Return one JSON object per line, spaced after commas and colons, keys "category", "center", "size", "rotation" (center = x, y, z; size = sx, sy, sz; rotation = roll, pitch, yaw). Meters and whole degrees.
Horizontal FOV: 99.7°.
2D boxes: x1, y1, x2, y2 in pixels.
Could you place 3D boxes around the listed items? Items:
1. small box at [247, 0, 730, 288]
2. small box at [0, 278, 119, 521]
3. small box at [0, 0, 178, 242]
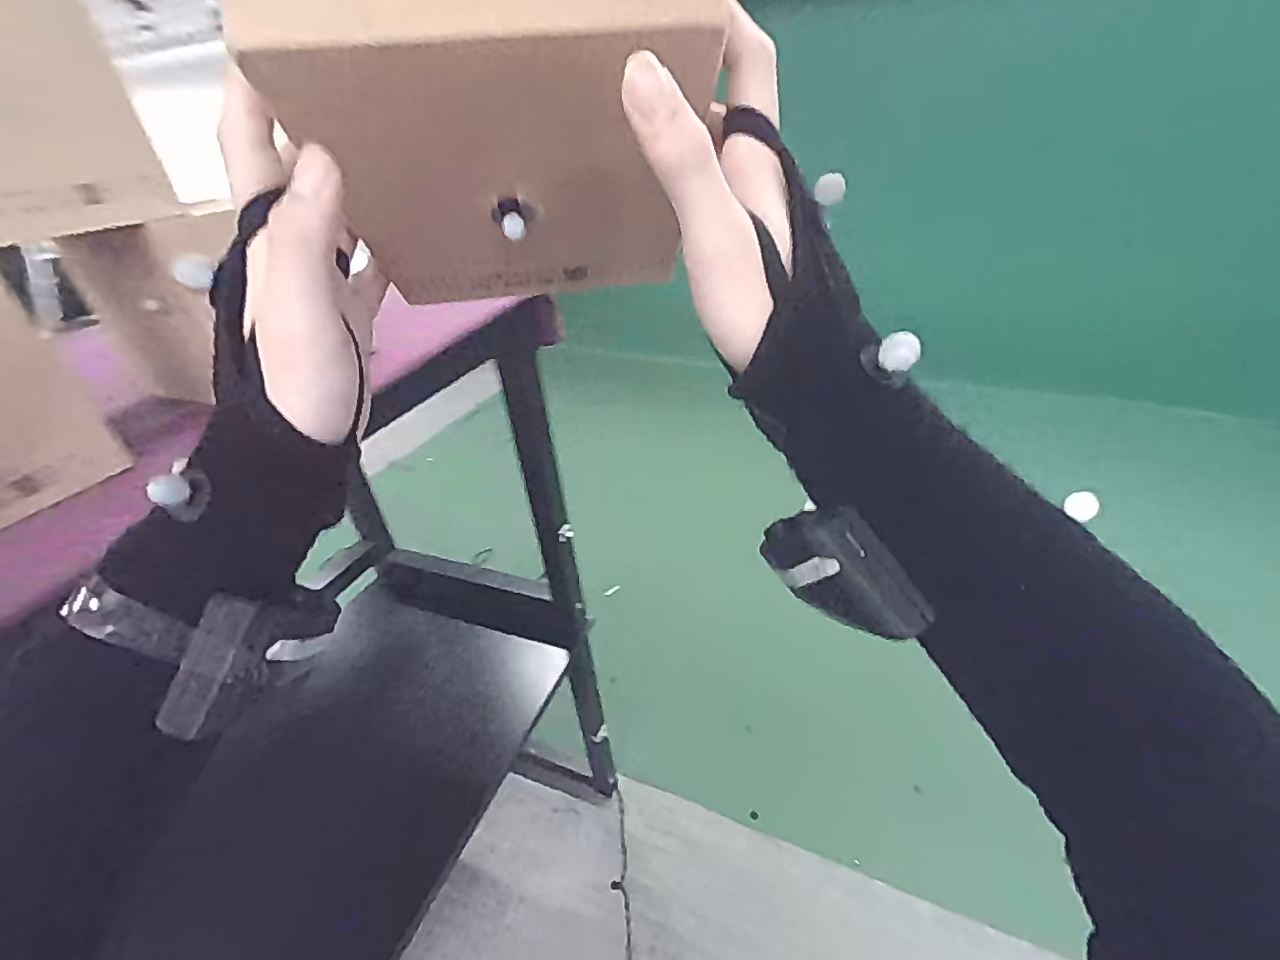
{"category": "small box", "center": [-0.061, -0.214, 0.275], "size": [0.168, 0.179, 0.176], "rotation": [-6, -10, -5]}
{"category": "small box", "center": [-0.531, -0.052, 0.365], "size": [0.179, 0.176, 0.168], "rotation": [10, 37, 21]}
{"category": "small box", "center": [-0.490, -0.260, 0.378], "size": [0.179, 0.176, 0.168], "rotation": [9, 37, 22]}
